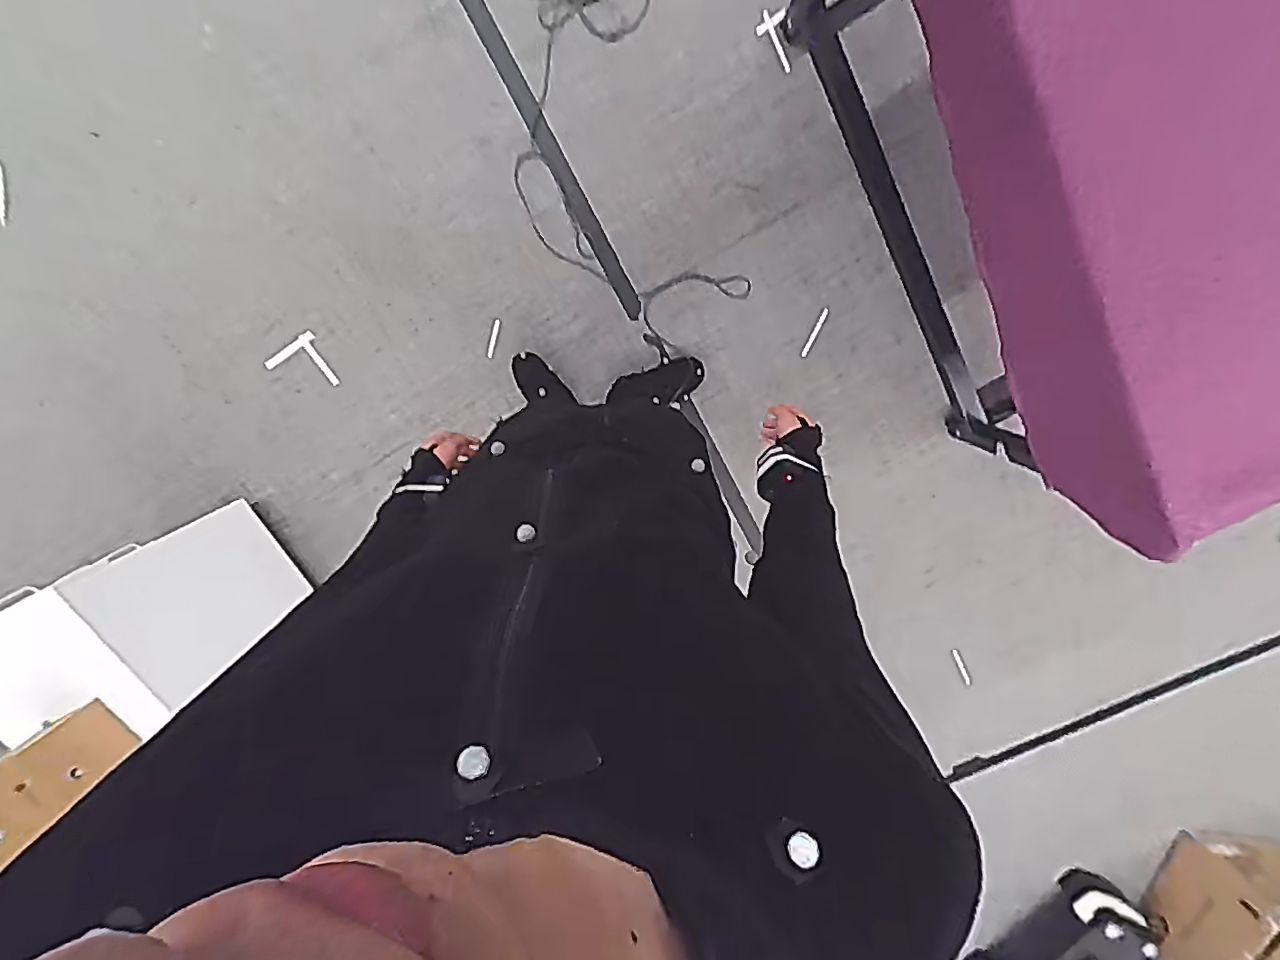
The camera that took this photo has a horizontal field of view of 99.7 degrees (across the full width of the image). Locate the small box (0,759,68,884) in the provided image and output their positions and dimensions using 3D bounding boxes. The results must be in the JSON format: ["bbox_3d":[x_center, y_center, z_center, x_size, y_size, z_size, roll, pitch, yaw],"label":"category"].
[{"bbox_3d":[-1.226,0.652,0.988,0.179,0.176,0.168,-27,106,9],"label":"small box"}]

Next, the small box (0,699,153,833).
[{"bbox_3d":[-1.208,0.607,1.144,0.168,0.176,0.179,-28,105,8],"label":"small box"}]
